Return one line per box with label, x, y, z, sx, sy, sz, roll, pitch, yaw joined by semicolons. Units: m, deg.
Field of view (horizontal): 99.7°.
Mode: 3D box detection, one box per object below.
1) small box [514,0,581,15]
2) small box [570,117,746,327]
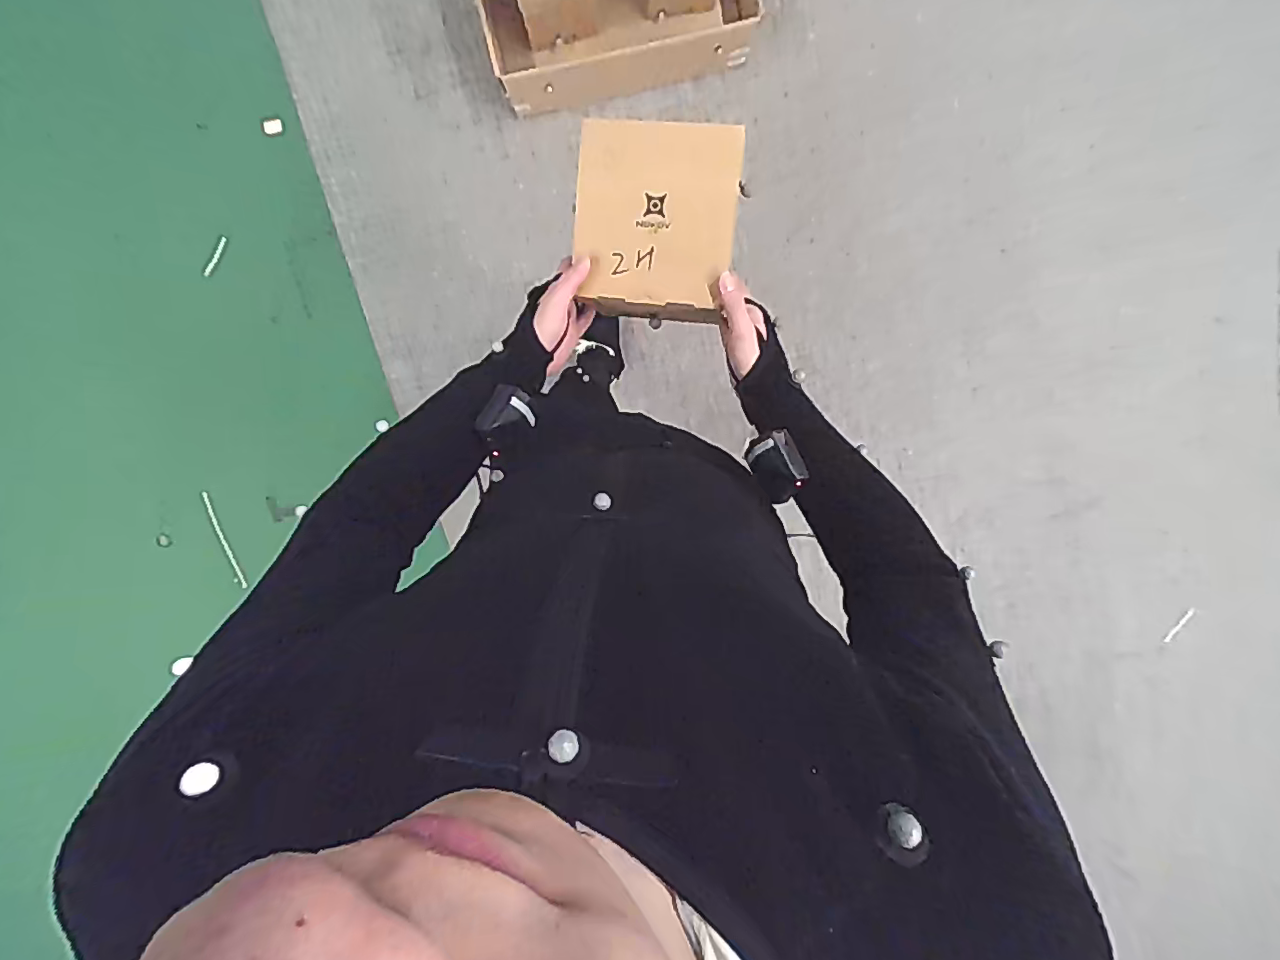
small box;-0.203;-1.077;1.059;0.168;0.176;0.179;-15;103;3
small box;0.025;-0.285;0.632;0.168;0.176;0.179;8;101;7
